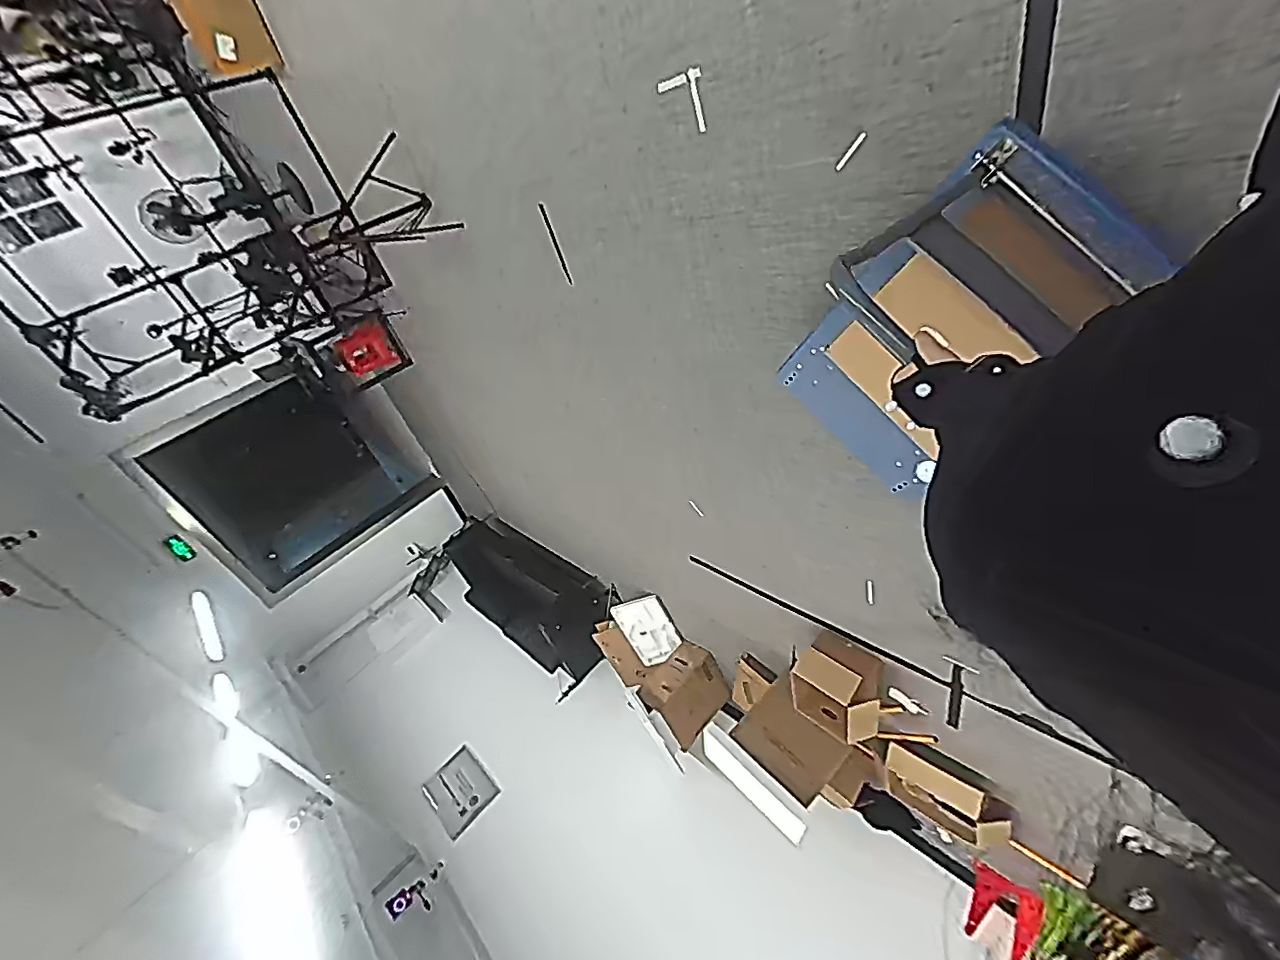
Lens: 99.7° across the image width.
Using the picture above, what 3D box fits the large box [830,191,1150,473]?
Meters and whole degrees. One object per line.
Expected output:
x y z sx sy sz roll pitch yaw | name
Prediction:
0.699 -0.296 1.118 0.408 0.320 0.320 48 153 7 | large box
